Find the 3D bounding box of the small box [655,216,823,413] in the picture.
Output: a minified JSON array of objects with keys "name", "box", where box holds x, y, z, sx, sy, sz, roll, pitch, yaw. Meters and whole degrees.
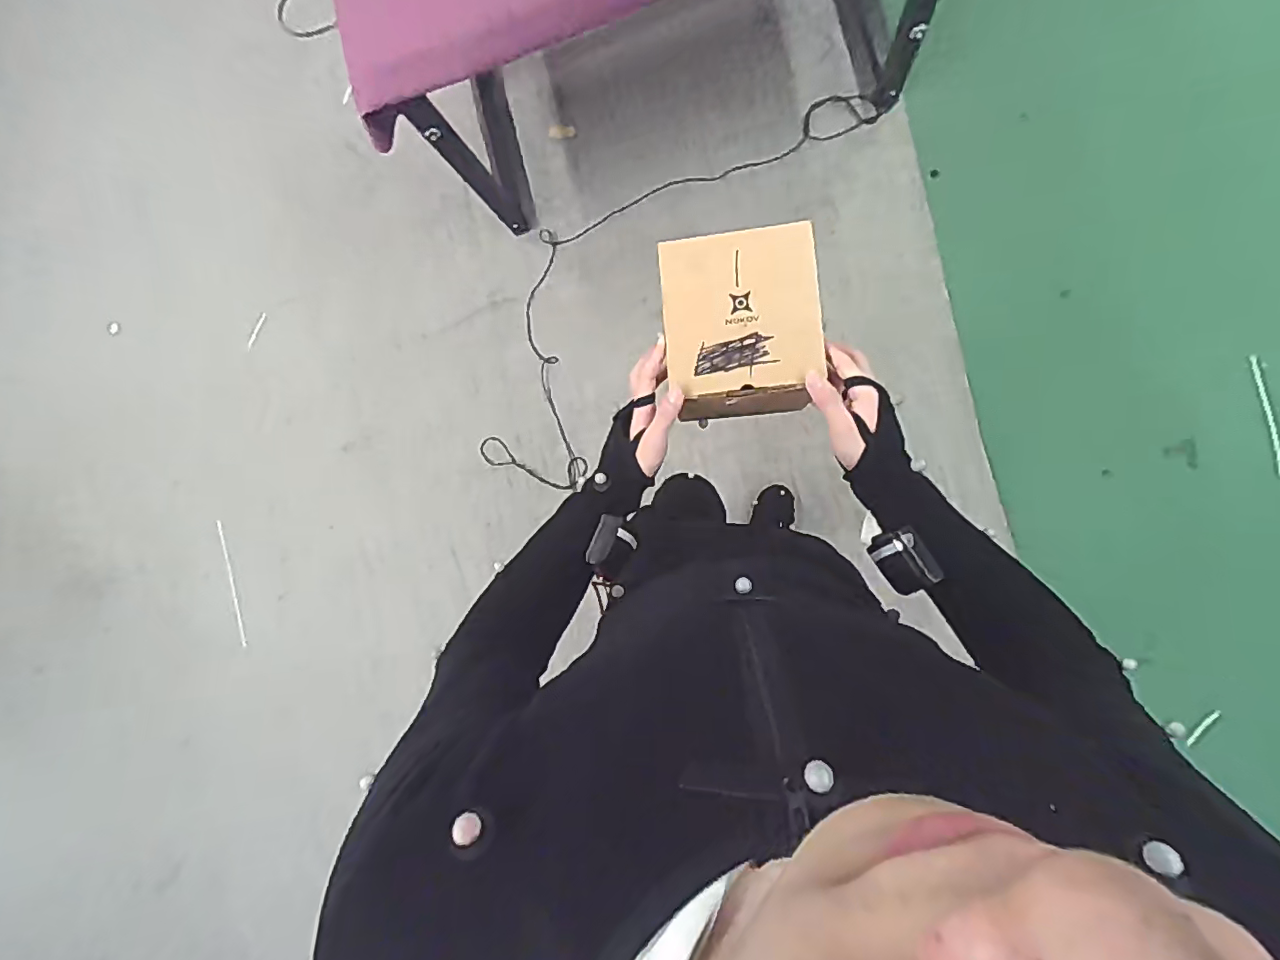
[{"name":"small box","box":[0.115,-0.179,0.647,0.168,0.176,0.179,-5,87,8]}]
